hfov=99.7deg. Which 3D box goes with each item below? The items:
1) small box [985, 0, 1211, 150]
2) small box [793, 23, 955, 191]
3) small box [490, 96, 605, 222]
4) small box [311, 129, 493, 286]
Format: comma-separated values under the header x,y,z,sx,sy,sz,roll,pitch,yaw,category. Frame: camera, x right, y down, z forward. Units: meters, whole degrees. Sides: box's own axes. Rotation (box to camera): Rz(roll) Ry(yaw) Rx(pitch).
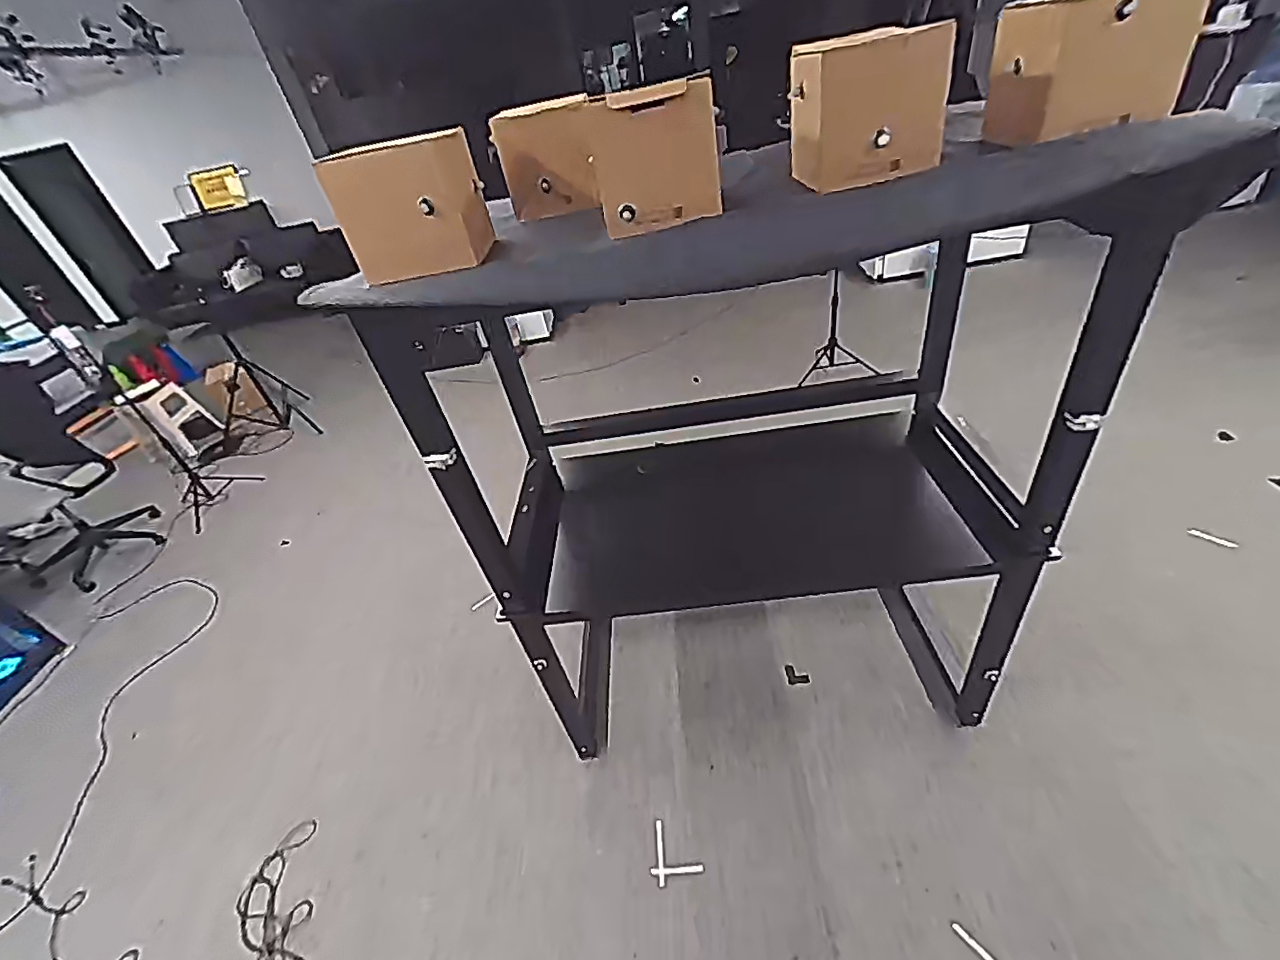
x,y,z,sx,sy,sz,roll,pitch,yaw,category
0.617,-0.577,0.757,0.168,0.176,0.179,-8,36,8,small box
0.322,-0.534,0.787,0.168,0.176,0.179,-9,36,6,small box
-0.163,-0.601,1.015,0.168,0.176,0.179,-9,38,4,small box
-0.339,-0.411,0.816,0.179,0.176,0.168,-9,37,3,small box
